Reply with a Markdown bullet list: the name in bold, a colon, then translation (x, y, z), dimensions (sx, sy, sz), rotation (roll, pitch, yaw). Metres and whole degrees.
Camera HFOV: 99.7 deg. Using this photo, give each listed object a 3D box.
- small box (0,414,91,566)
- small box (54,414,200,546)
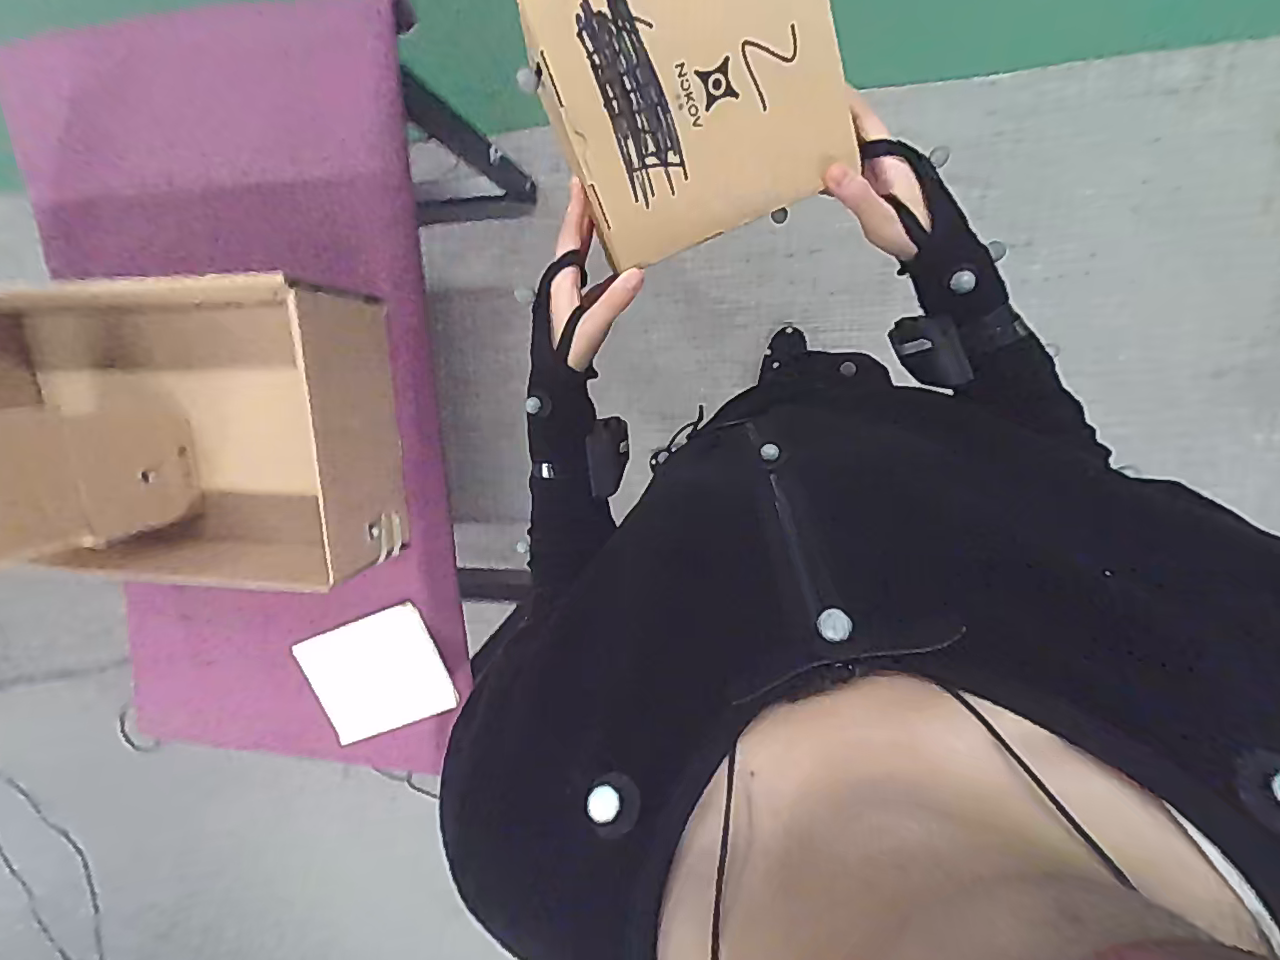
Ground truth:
- **small box**: translation (-0.825, 0.019, 0.647), dimensions (0.168, 0.176, 0.179), rotation (-1, 101, 9)
- **small box**: translation (-0.803, -0.009, 0.805), dimensions (0.179, 0.176, 0.168), rotation (1, 102, 8)
